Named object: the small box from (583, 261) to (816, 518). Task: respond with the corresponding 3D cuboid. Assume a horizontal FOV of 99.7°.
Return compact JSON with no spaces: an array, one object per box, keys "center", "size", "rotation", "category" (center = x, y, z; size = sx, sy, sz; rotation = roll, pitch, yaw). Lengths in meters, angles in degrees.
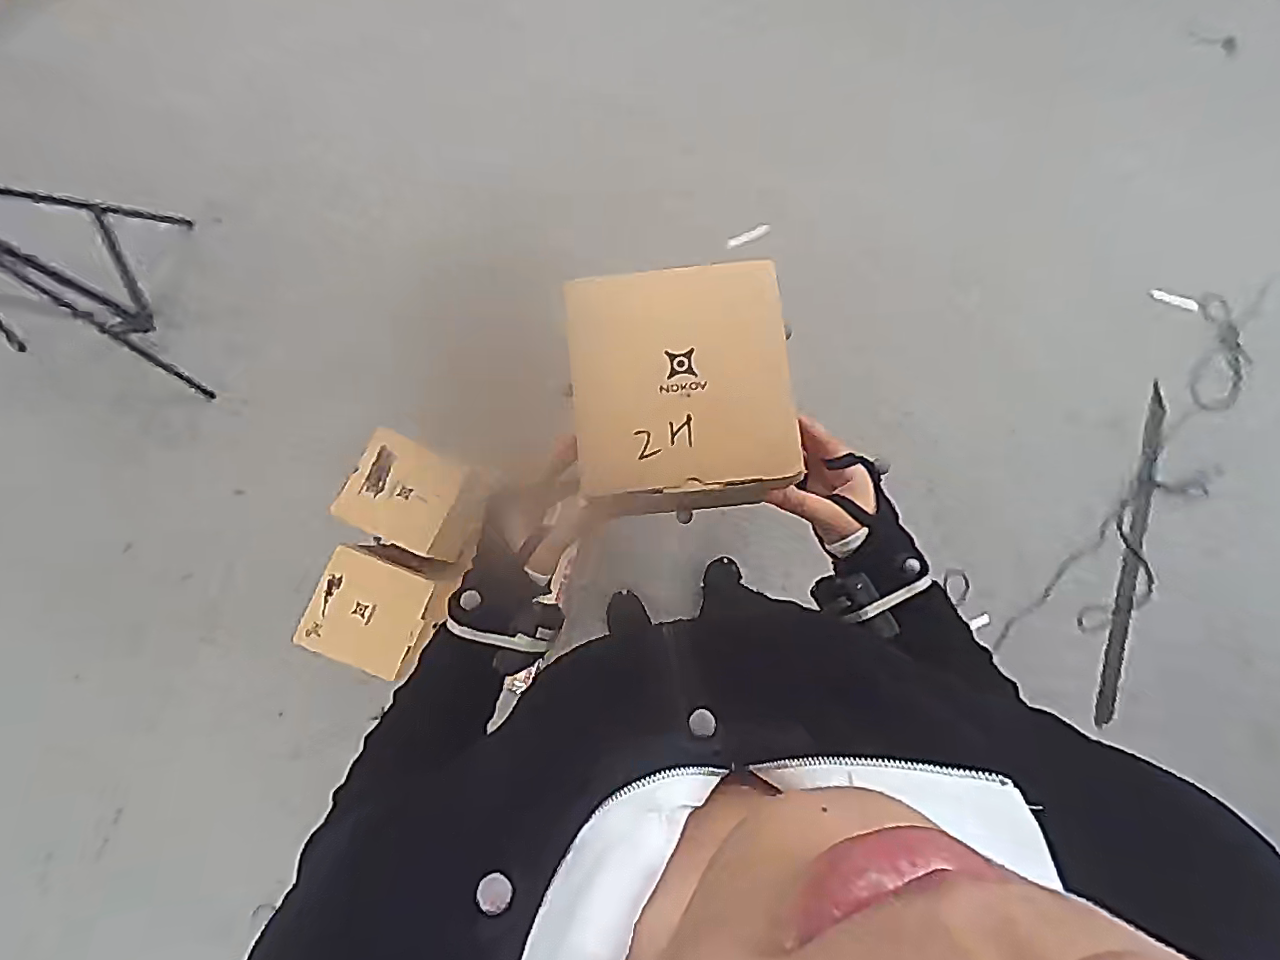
[{"center":[0.041,-0.066,0.480],"size":[0.168,0.176,0.179],"rotation":[-4,81,1],"category":"small box"}]
